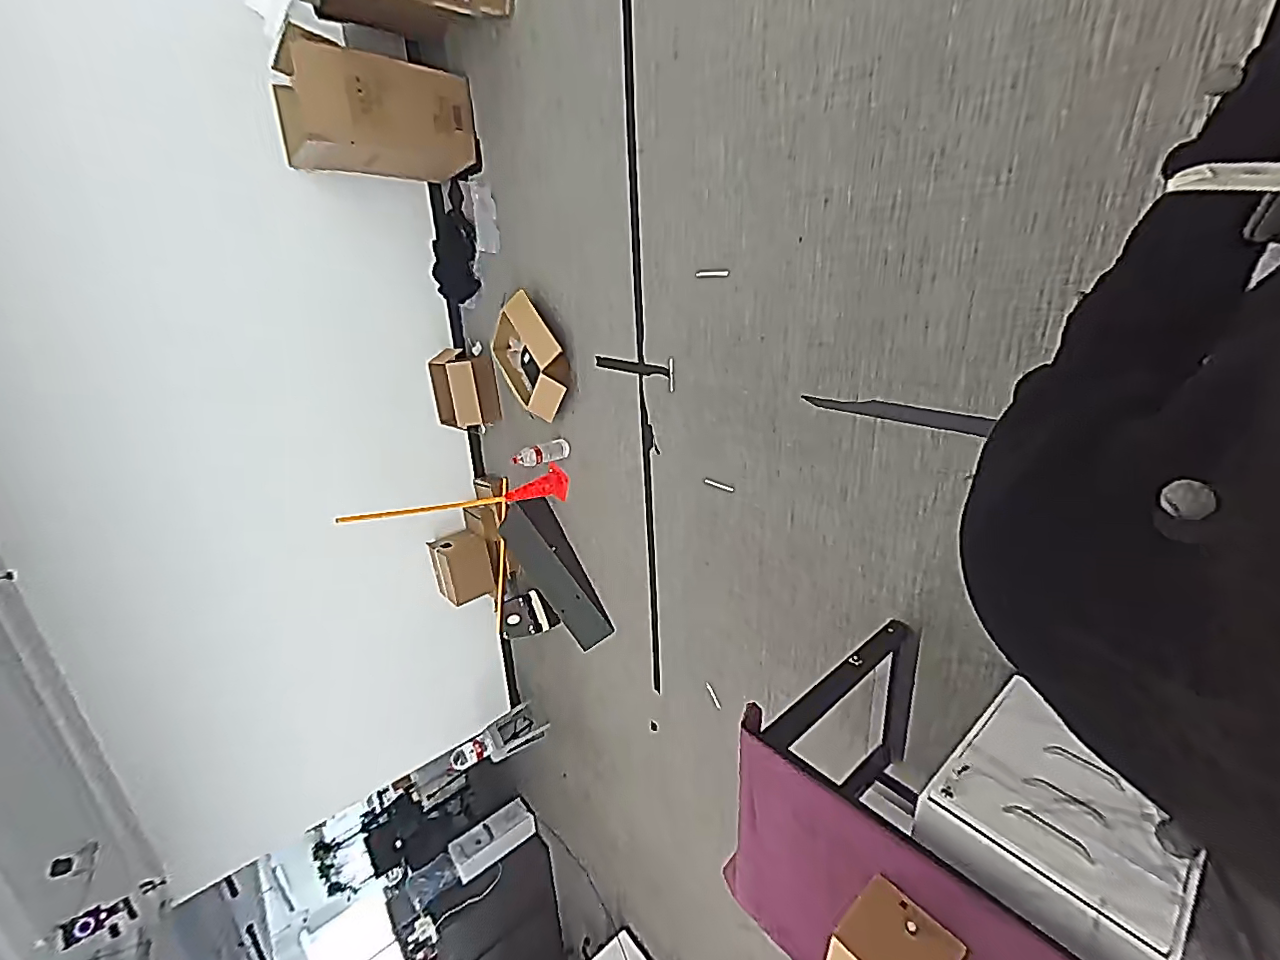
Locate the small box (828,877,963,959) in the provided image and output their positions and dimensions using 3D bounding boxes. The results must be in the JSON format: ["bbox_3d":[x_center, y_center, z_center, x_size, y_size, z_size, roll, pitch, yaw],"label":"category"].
[{"bbox_3d":[0.461,0.896,0.991,0.168,0.176,0.179,25,124,45],"label":"small box"}]
